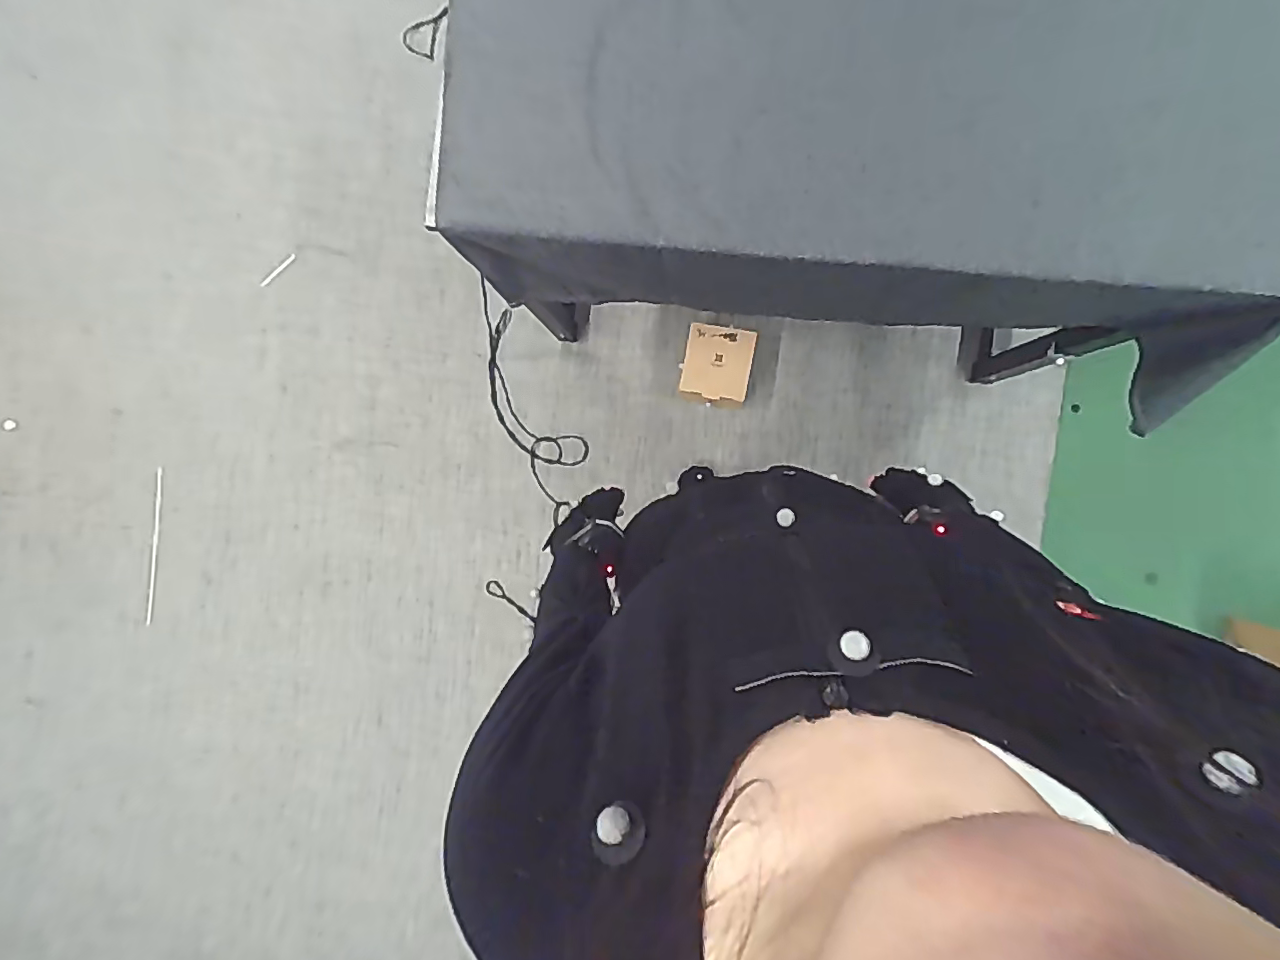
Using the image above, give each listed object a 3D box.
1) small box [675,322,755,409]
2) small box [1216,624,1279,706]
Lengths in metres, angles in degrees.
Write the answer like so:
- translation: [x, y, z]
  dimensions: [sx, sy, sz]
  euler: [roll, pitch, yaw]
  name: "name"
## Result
- translation: [0.191, -0.285, 1.392]
  dimensions: [0.168, 0.176, 0.179]
  euler: [11, 91, 5]
  name: "small box"
- translation: [1.560, 0.460, 1.286]
  dimensions: [0.179, 0.176, 0.168]
  euler: [18, 91, 6]
  name: "small box"
